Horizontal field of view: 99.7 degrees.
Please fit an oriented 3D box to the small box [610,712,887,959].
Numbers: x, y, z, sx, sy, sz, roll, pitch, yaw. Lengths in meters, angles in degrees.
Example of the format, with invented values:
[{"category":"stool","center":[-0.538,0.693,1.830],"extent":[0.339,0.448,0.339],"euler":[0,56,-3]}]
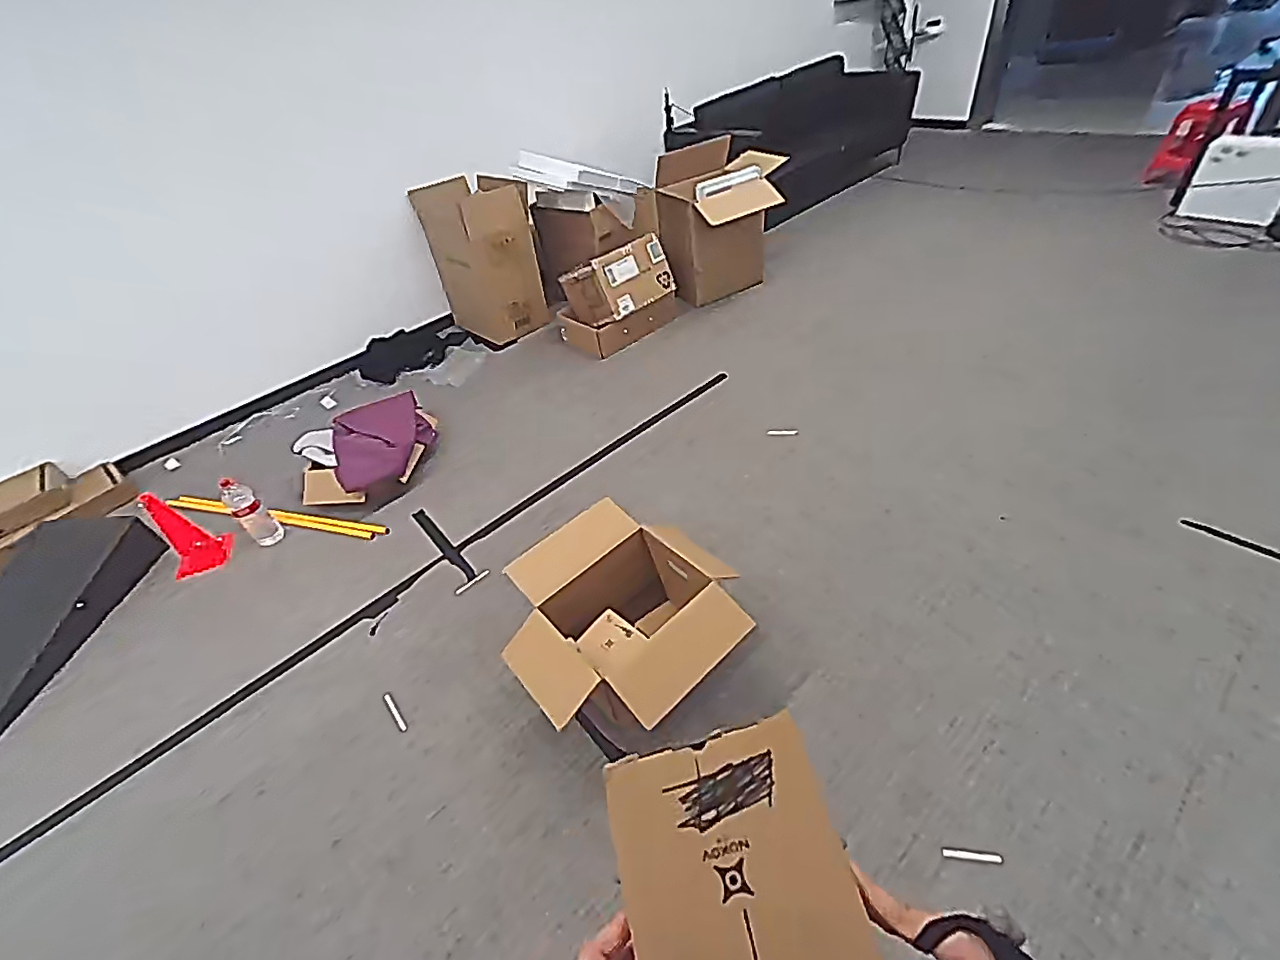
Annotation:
[{"category":"small box","center":[0.081,0.324,0.466],"extent":[0.168,0.176,0.179],"euler":[-16,57,0]}]
